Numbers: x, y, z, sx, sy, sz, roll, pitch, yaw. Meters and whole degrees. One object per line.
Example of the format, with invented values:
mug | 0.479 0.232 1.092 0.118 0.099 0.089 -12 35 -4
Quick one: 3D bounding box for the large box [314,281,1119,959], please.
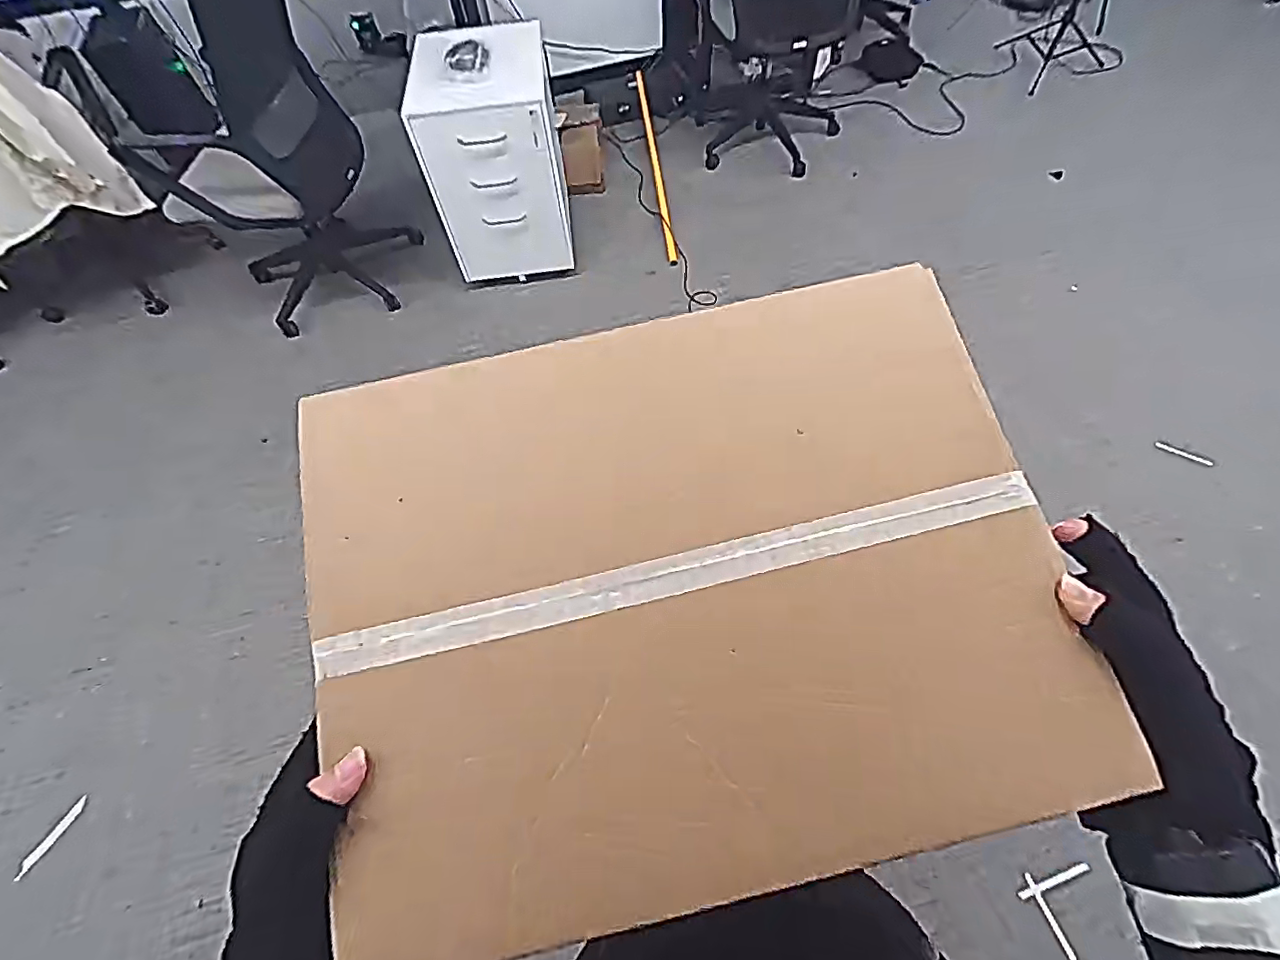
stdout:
large box | 0.028 0.096 0.452 0.408 0.320 0.320 -14 74 -2
